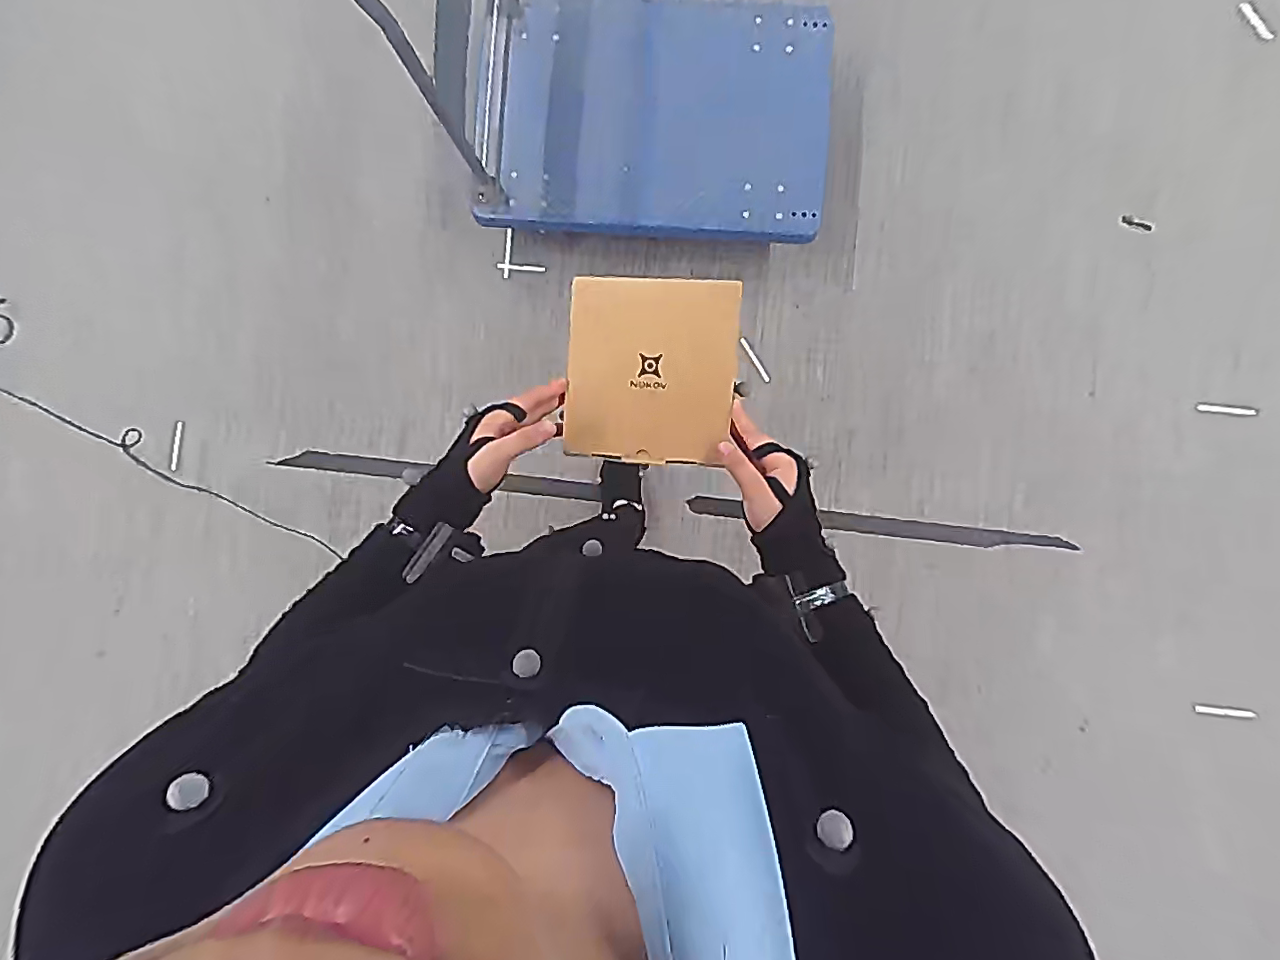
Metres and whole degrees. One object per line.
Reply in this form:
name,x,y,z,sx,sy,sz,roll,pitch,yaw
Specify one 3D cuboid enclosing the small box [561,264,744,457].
small box,0.021,-0.118,0.591,0.168,0.176,0.179,4,93,9
